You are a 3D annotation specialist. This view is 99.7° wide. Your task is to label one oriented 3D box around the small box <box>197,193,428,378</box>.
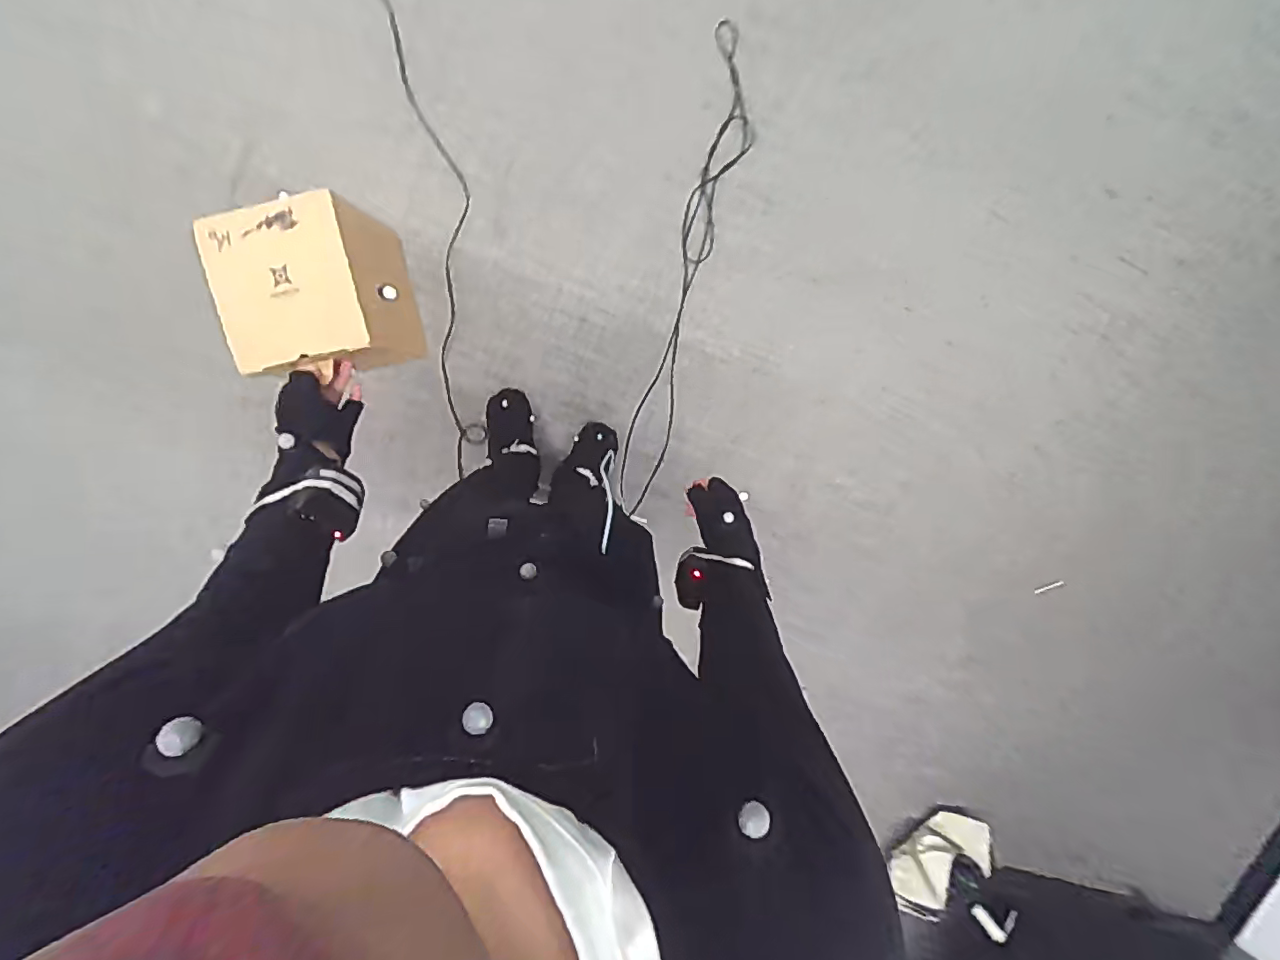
[{"bbox_3d":[-0.396,-0.231,0.690,0.168,0.176,0.179,-11,98,4],"label":"small box"}]
